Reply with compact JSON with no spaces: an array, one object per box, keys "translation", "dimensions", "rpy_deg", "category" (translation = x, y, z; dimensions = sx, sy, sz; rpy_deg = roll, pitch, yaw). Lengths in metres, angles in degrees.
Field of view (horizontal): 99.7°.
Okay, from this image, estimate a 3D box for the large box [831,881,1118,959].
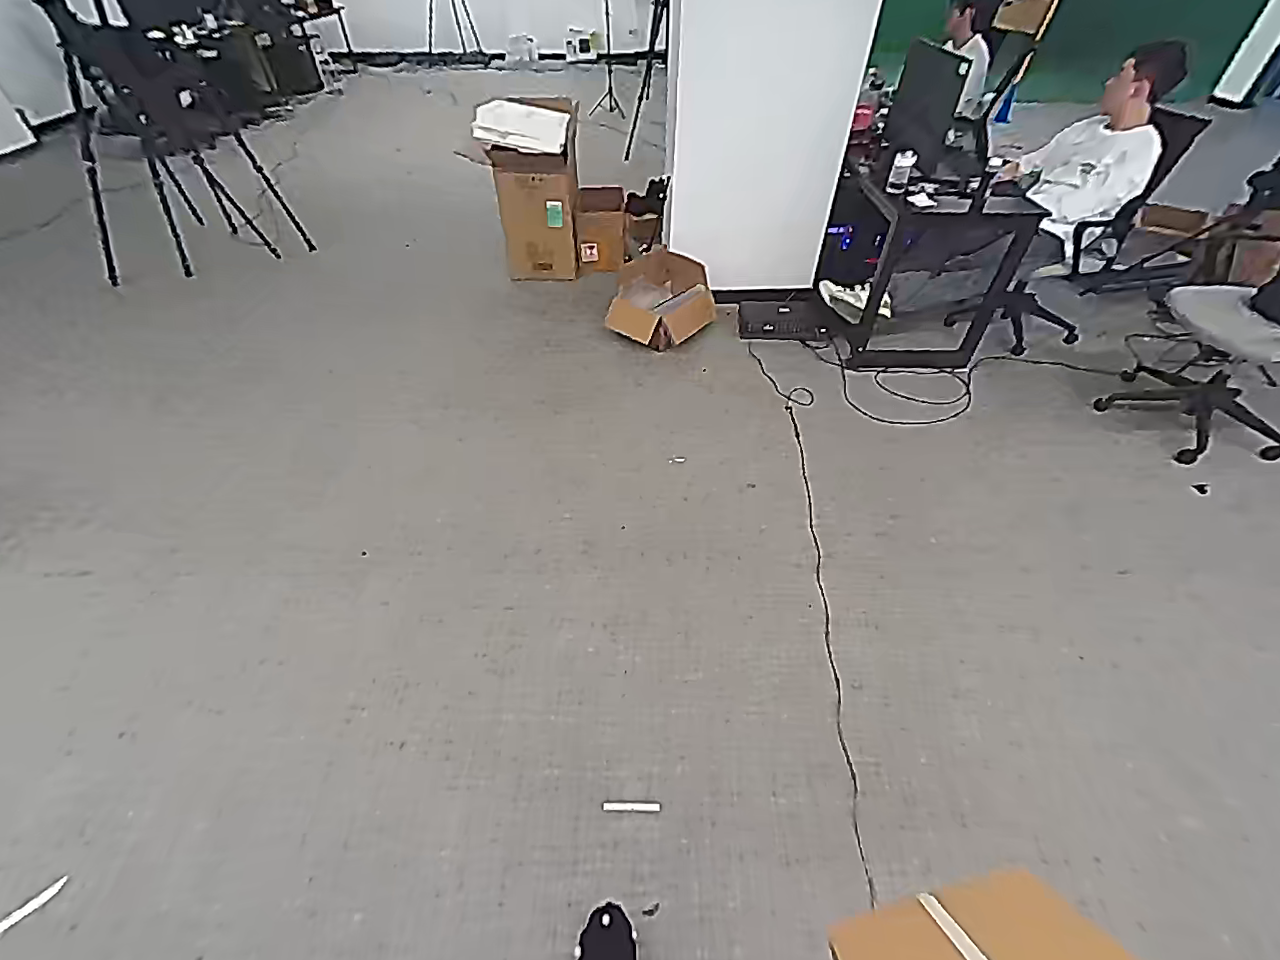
[{"translation":[0.465,0.751,0.584],"dimensions":[0.320,0.408,0.320],"rpy_deg":[-14,84,-3],"category":"large box"}]
